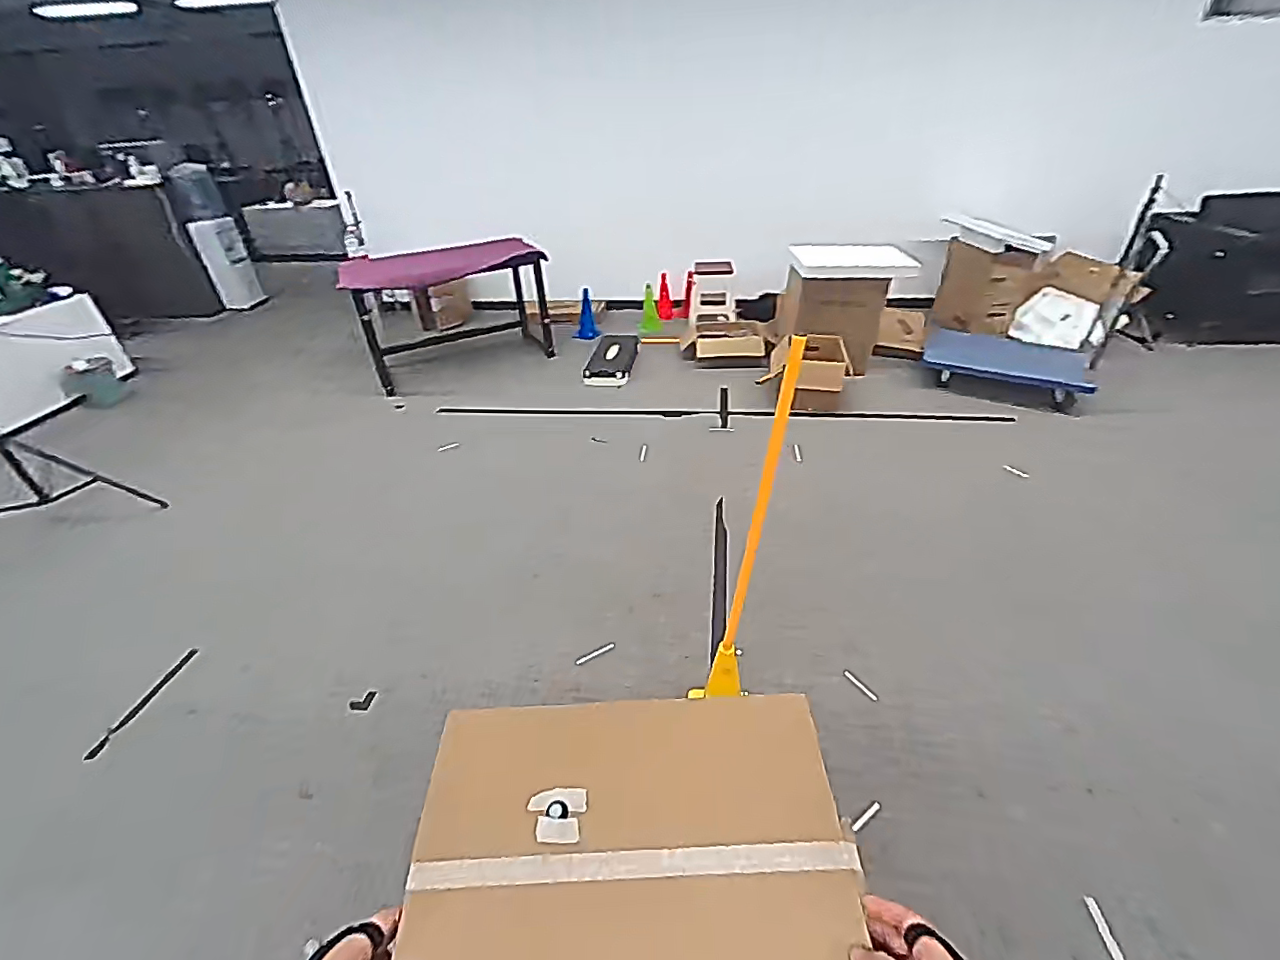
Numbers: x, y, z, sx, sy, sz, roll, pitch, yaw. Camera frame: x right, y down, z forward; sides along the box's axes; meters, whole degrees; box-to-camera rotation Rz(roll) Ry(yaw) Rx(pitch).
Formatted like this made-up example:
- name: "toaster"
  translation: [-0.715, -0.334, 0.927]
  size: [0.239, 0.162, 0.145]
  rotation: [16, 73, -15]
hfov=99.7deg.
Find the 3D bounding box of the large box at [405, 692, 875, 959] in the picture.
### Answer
- name: "large box"
  translation: [0.007, 0.471, 0.603]
  size: [0.408, 0.320, 0.320]
  rotation: [-5, 41, 2]
